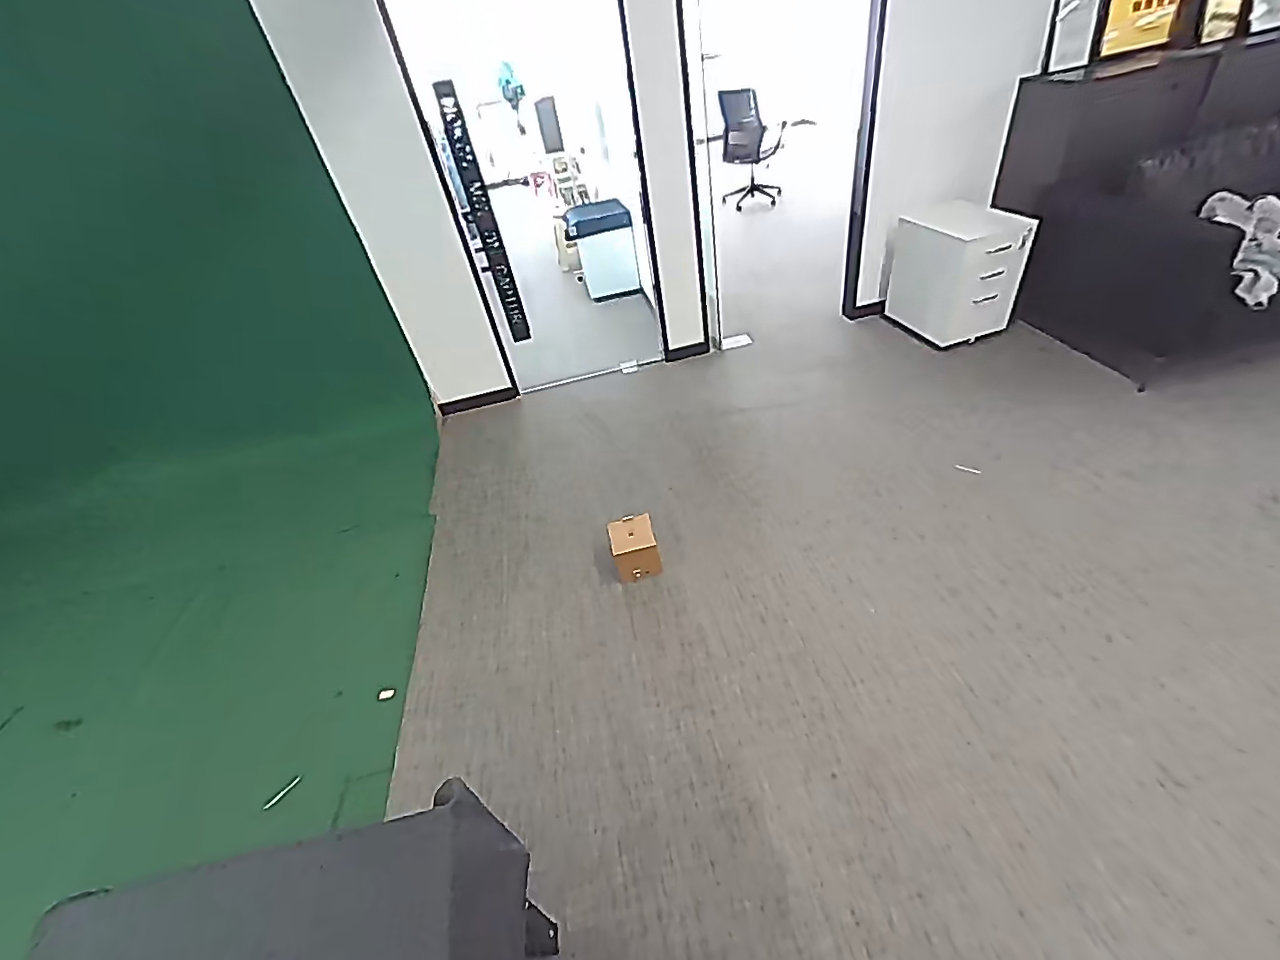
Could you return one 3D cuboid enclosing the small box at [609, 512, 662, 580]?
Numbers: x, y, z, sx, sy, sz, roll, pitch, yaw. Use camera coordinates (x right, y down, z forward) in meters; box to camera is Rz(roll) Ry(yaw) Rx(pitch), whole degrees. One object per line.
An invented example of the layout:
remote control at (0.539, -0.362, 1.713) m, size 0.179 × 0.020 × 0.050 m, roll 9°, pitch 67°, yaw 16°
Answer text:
small box at (-0.018, 0.255, 2.072) m, size 0.168 × 0.176 × 0.179 m, roll -13°, pitch 39°, yaw 1°
